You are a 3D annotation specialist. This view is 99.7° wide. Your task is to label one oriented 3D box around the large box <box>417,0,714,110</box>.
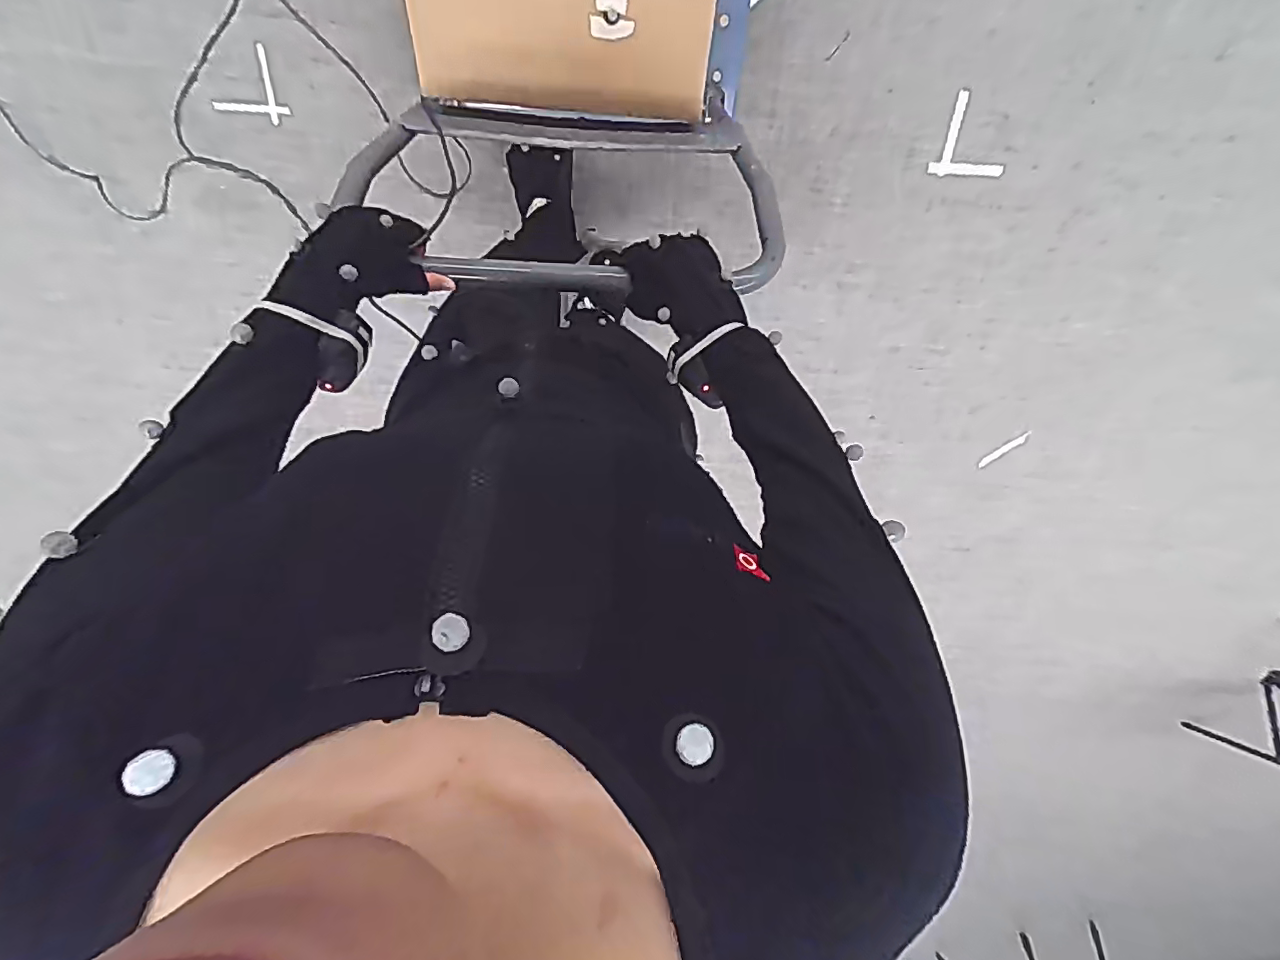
[{"bbox_3d":[-0.104,-0.770,0.806,0.408,0.320,0.320,1,132,-5],"label":"large box"}]
